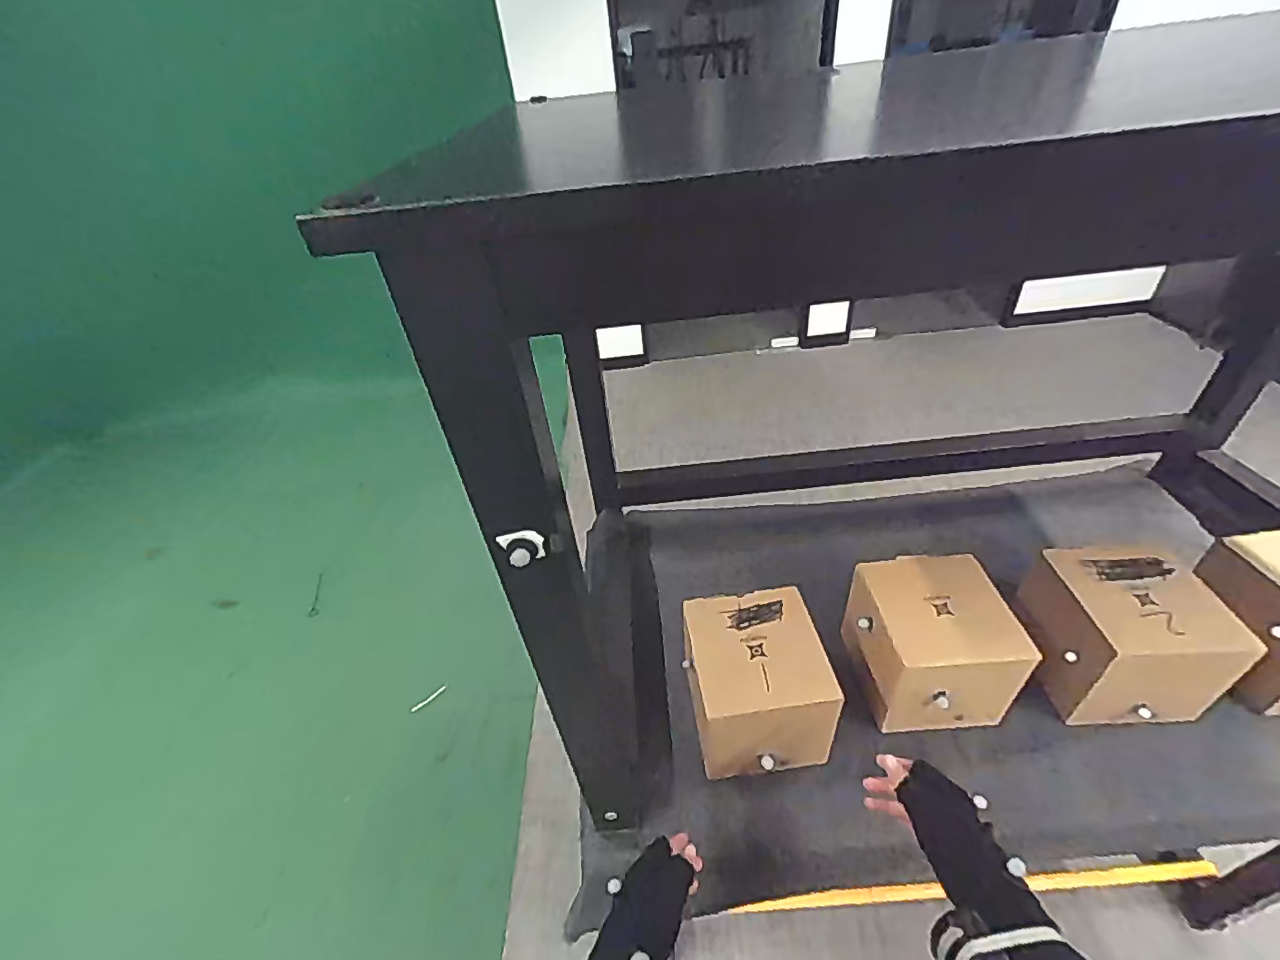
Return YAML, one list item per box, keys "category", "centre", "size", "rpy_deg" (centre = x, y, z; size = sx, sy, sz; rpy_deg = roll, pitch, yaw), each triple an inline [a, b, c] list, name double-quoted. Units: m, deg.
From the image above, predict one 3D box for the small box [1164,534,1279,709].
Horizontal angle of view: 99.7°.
- category: "small box"
  centre: [0.897, 0.194, 0.737]
  size: [0.168, 0.176, 0.179]
  rpy_deg: [-6, 37, 1]

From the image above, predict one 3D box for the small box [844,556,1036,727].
- category: "small box"
  centre: [0.407, 0.234, 0.770]
  size: [0.168, 0.176, 0.179]
  rpy_deg: [-5, 38, 2]

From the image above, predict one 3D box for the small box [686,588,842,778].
- category: "small box"
  centre: [0.158, 0.279, 0.749]
  size: [0.168, 0.176, 0.179]
  rpy_deg: [-8, 39, -1]
